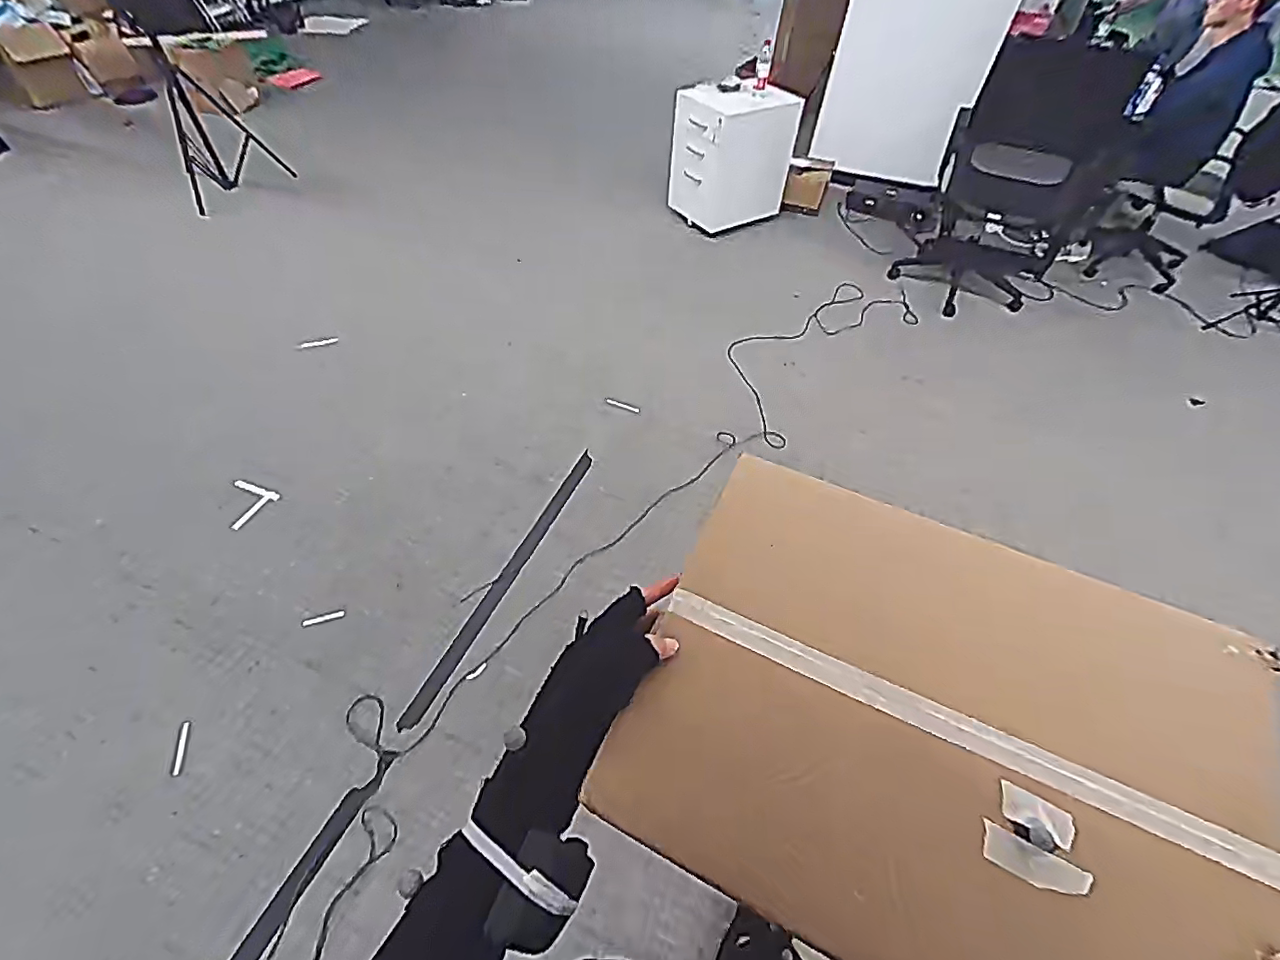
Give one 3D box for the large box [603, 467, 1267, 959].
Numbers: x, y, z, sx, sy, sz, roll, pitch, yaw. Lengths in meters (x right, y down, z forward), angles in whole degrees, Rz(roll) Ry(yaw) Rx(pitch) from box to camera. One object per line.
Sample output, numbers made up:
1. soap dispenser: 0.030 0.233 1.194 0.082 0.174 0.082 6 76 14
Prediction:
1. large box: 0.220 0.248 0.523 0.408 0.320 0.320 22 63 16
